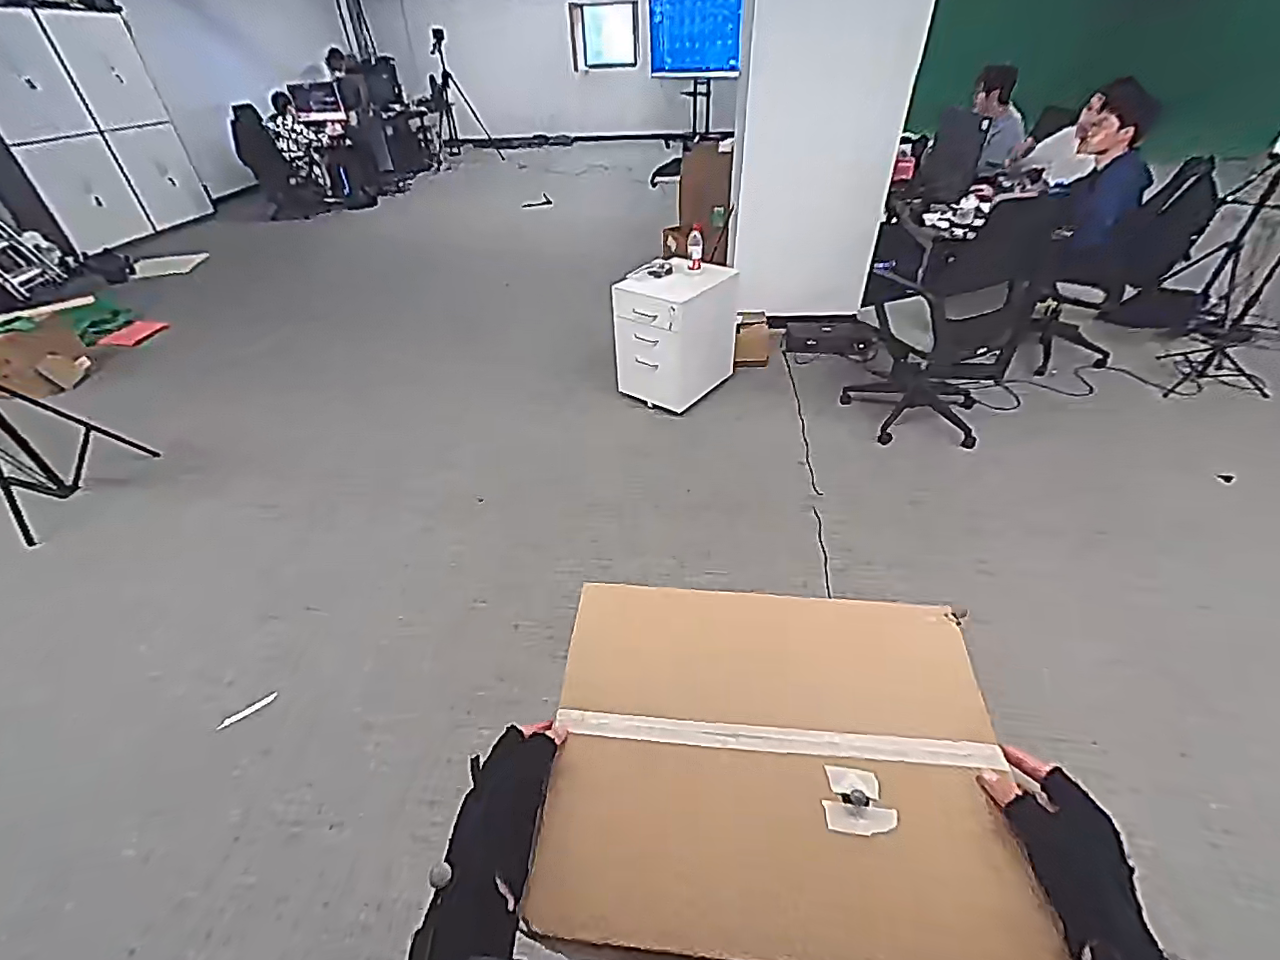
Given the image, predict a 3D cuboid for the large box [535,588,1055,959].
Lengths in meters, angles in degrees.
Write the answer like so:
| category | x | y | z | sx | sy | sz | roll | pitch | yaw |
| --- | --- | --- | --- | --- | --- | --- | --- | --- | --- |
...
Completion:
| category | x | y | z | sx | sy | sz | roll | pitch | yaw |
| --- | --- | --- | --- | --- | --- | --- | --- | --- | --- |
| large box | 0.127 | 0.346 | 0.622 | 0.408 | 0.320 | 0.320 | 2 | 47 | 5 |
